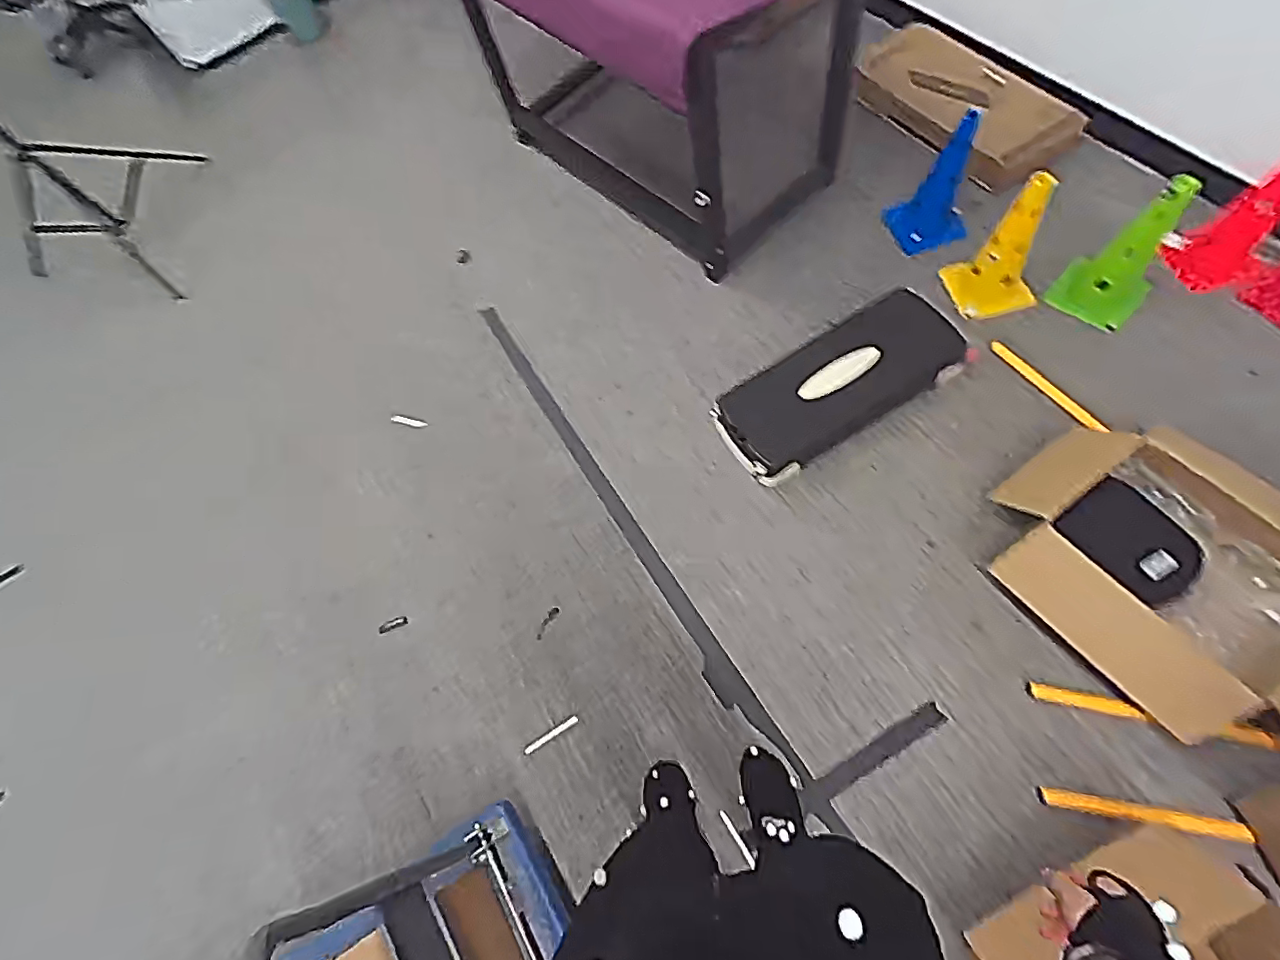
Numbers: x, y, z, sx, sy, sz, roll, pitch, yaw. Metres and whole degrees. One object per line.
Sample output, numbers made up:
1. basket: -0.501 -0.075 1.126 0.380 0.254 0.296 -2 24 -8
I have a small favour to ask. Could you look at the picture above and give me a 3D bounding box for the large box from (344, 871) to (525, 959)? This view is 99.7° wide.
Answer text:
1. large box: -0.353 0.965 0.877 0.320 0.320 0.408 -35 64 -5
